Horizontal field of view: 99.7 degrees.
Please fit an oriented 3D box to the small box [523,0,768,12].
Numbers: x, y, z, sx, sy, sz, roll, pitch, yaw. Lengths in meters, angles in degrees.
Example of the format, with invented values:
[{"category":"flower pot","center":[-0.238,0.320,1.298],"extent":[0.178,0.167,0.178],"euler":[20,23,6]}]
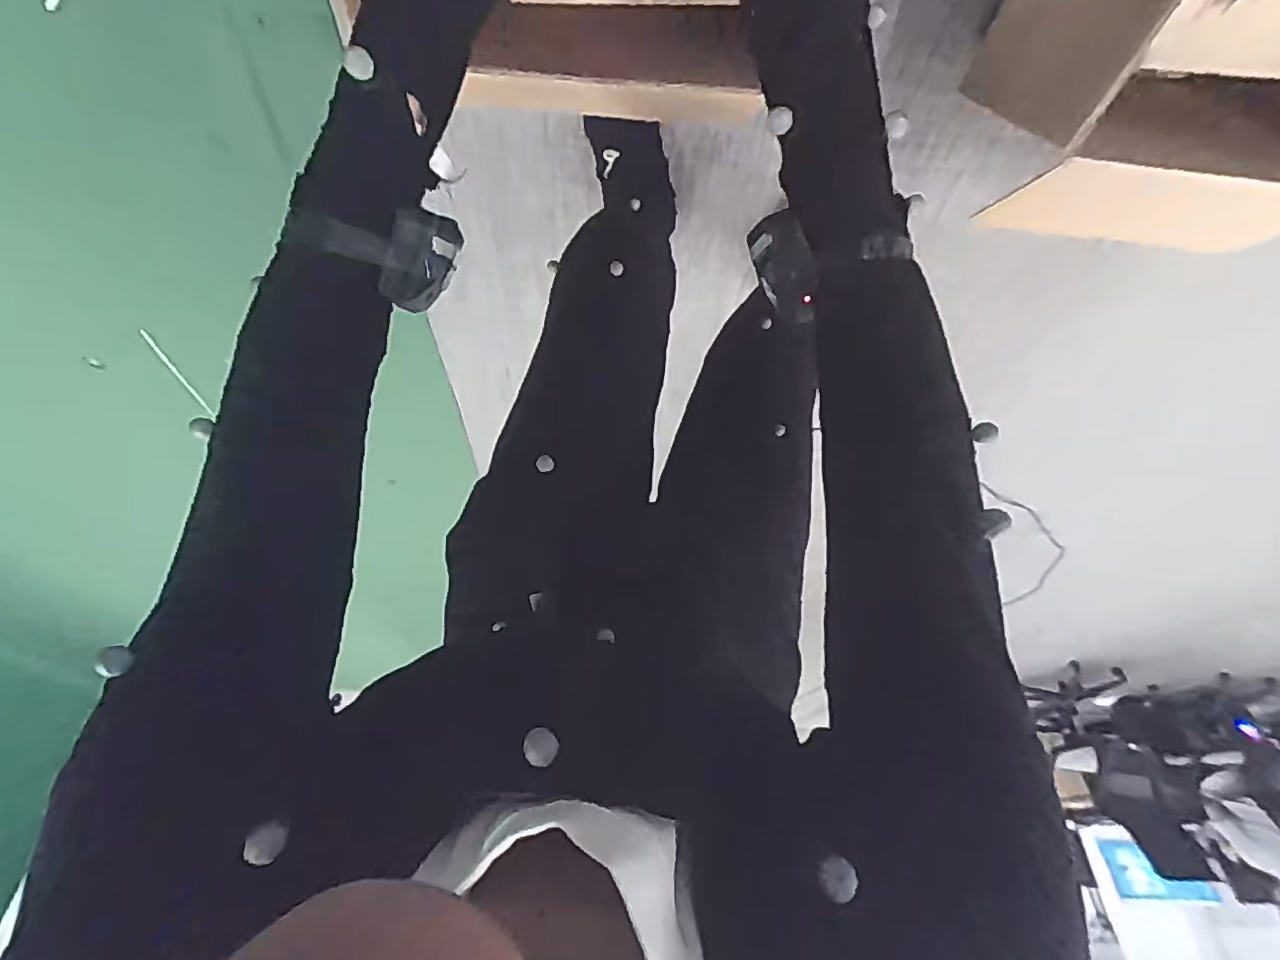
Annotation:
[{"category":"small box","center":[0.005,-0.447,0.367],"extent":[0.179,0.176,0.168],"euler":[1,143,2]}]
